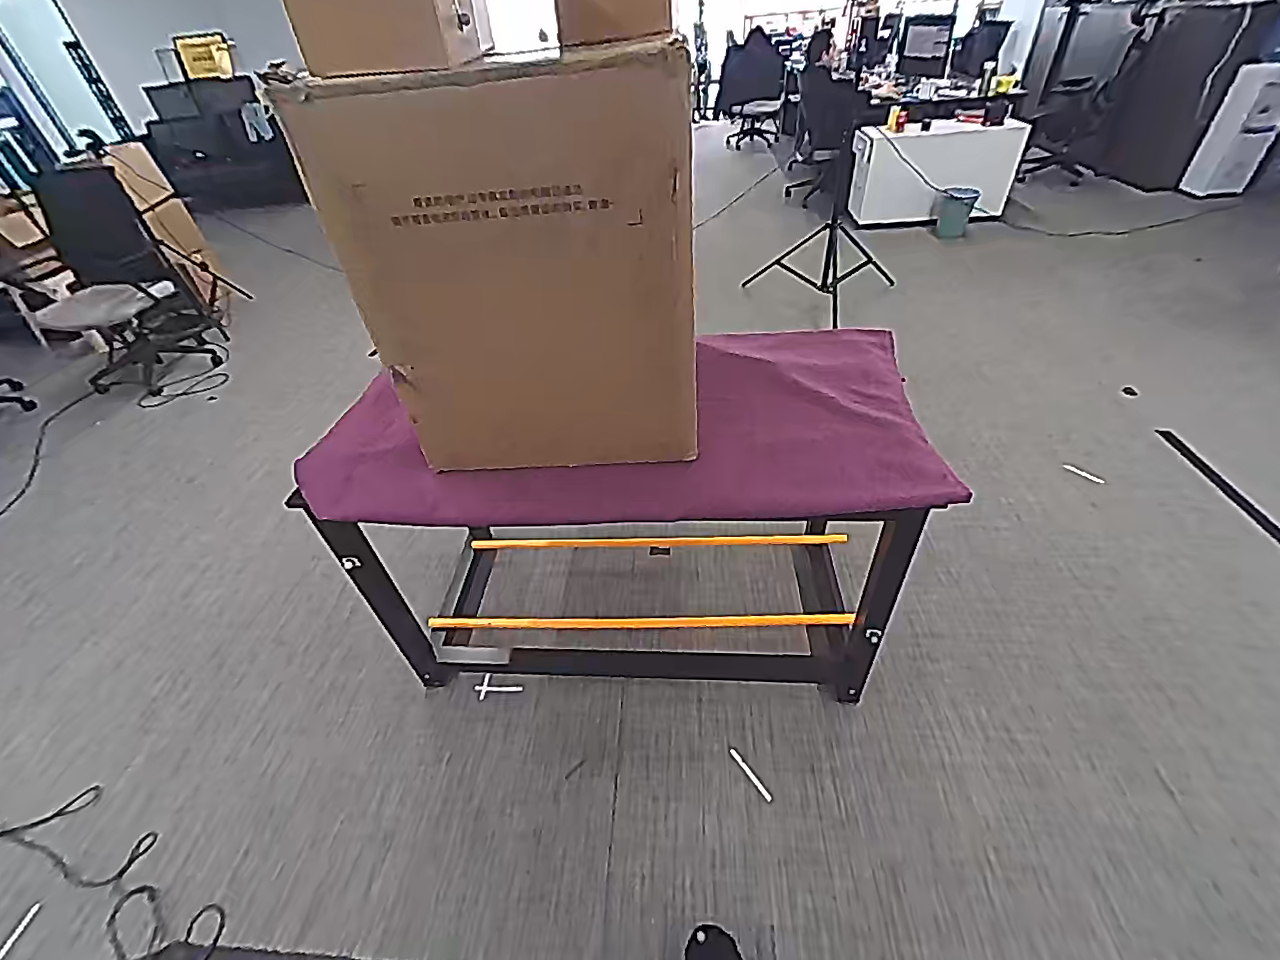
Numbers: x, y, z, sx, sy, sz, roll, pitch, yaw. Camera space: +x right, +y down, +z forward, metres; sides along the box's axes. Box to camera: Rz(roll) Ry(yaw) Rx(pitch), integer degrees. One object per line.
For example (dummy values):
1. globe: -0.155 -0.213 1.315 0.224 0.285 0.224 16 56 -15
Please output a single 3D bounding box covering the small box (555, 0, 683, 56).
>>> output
1. small box: -0.029 -0.753 0.805 0.179 0.176 0.168 1 41 9
